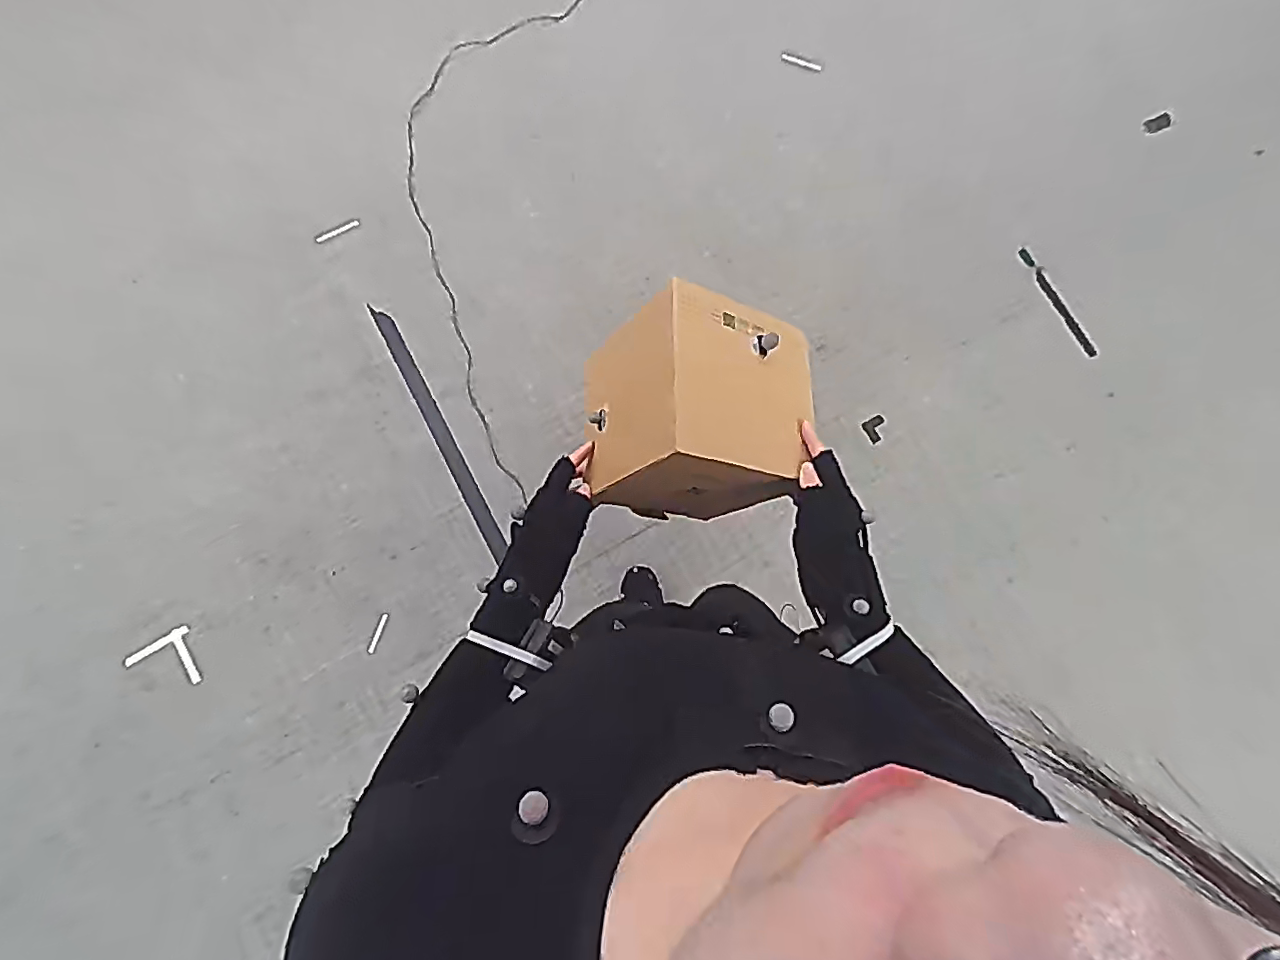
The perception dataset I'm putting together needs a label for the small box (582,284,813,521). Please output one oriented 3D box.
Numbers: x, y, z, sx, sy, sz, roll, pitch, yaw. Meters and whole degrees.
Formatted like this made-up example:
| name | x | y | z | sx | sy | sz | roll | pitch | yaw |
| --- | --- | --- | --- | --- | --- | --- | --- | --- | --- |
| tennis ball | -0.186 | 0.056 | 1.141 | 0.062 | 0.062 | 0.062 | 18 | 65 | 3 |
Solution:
| name | x | y | z | sx | sy | sz | roll | pitch | yaw |
| --- | --- | --- | --- | --- | --- | --- | --- | --- | --- |
| small box | 0.054 | -0.065 | 0.560 | 0.168 | 0.179 | 0.176 | 11 | 69 | -30 |
